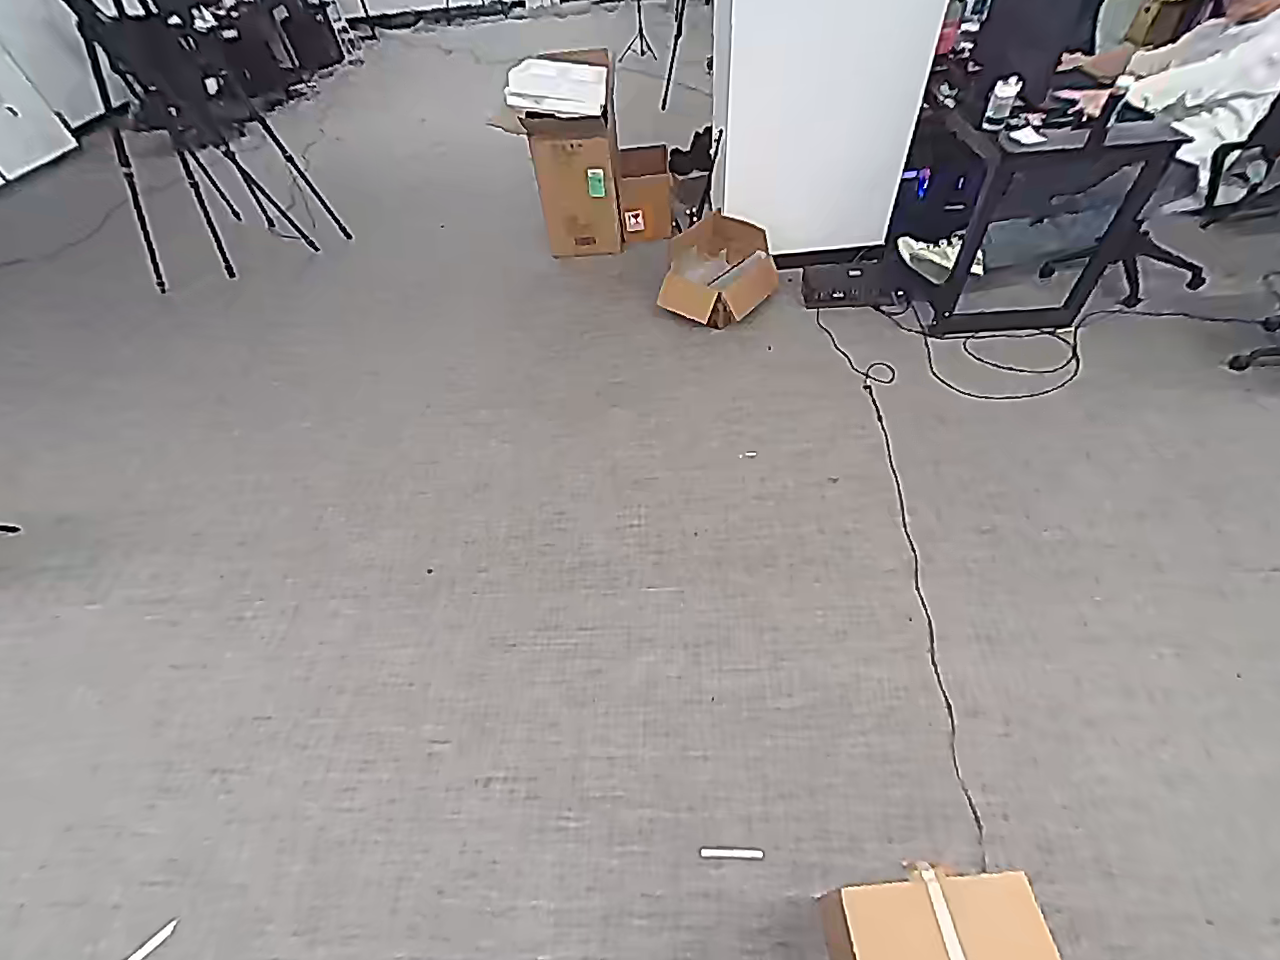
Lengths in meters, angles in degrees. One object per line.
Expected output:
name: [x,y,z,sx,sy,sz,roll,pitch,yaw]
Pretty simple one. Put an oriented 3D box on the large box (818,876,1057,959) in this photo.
large box: [0.532,0.945,0.919,0.320,0.320,0.408,-8,50,3]
